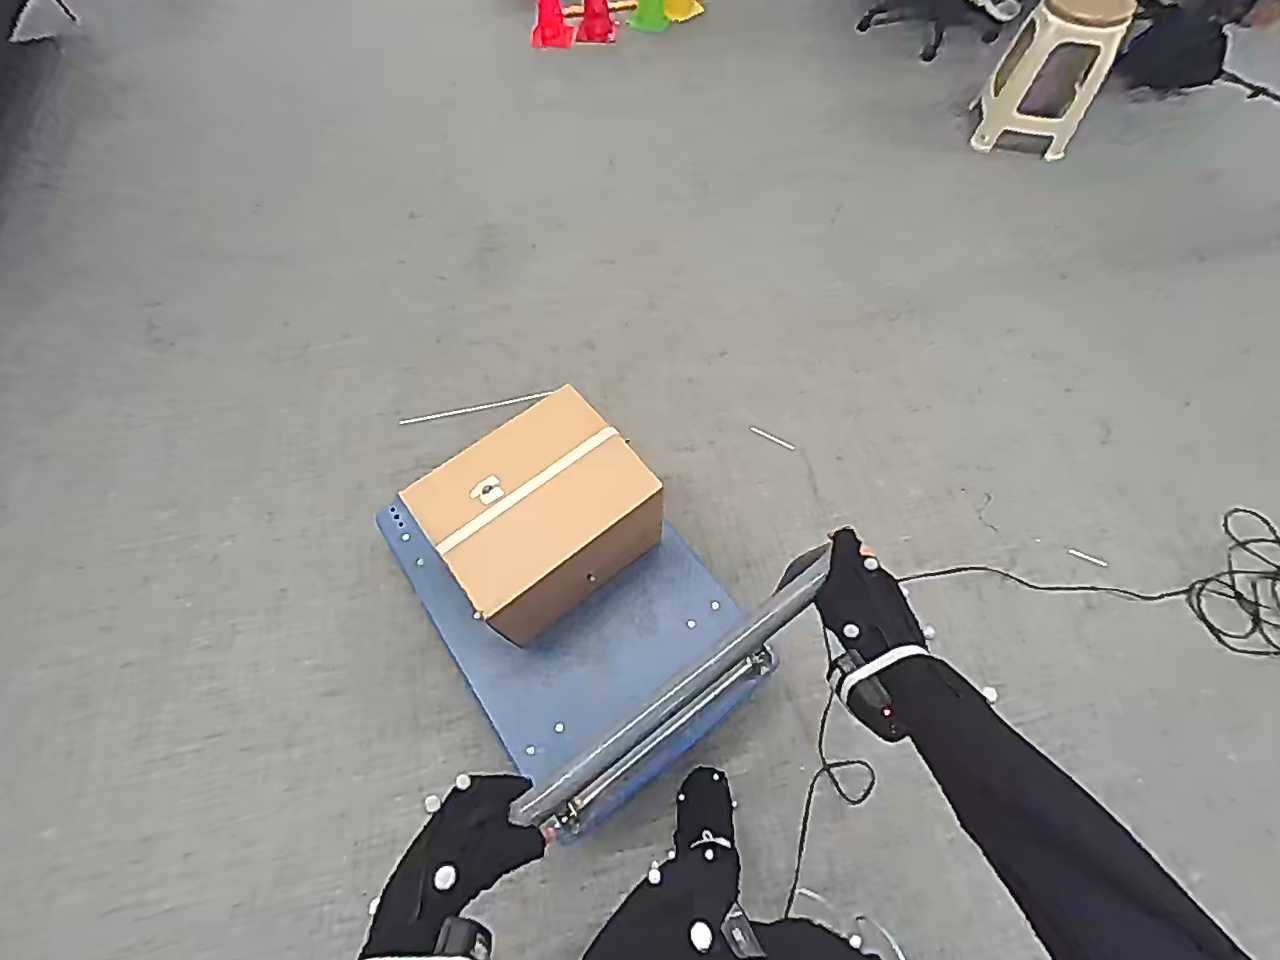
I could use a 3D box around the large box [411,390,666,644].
[{"bbox_3d":[-0.192,0.089,1.171,0.408,0.320,0.320,-37,68,-15],"label":"large box"}]
